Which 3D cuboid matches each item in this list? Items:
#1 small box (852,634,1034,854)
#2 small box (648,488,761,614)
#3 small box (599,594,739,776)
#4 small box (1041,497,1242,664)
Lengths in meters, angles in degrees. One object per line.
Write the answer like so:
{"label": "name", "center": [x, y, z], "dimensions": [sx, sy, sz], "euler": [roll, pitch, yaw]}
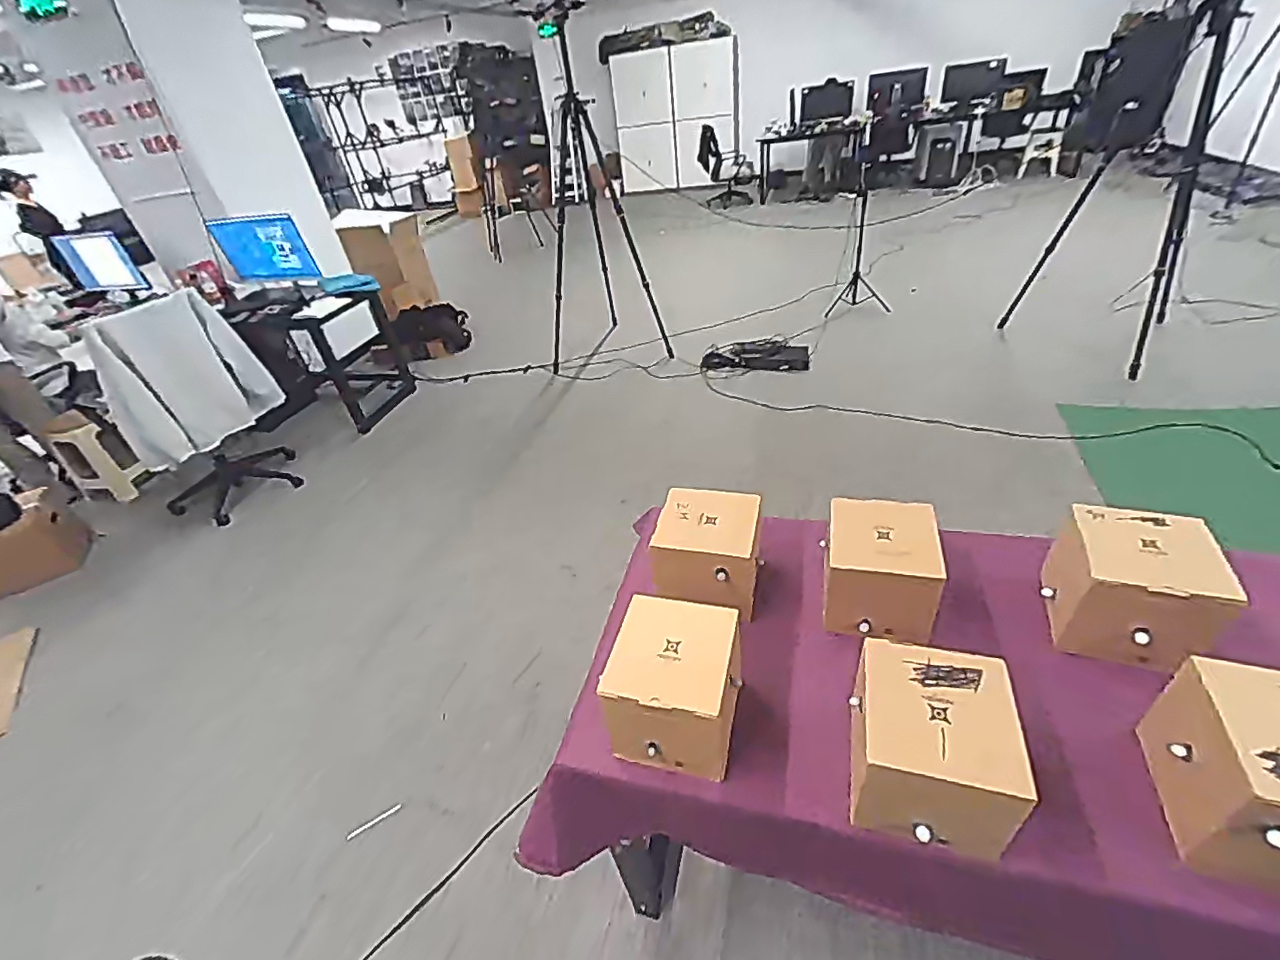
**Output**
{"label": "small box", "center": [0.364, 0.330, 0.689], "dimensions": [0.168, 0.176, 0.179], "euler": [4, 38, 19]}
{"label": "small box", "center": [0.129, 0.135, 1.009], "dimensions": [0.179, 0.176, 0.168], "euler": [4, 38, 18]}
{"label": "small box", "center": [0.054, 0.301, 0.806], "dimensions": [0.168, 0.176, 0.179], "euler": [4, 39, 18]}
{"label": "small box", "center": [0.749, 0.153, 0.834], "dimensions": [0.168, 0.176, 0.179], "euler": [8, 41, 22]}
